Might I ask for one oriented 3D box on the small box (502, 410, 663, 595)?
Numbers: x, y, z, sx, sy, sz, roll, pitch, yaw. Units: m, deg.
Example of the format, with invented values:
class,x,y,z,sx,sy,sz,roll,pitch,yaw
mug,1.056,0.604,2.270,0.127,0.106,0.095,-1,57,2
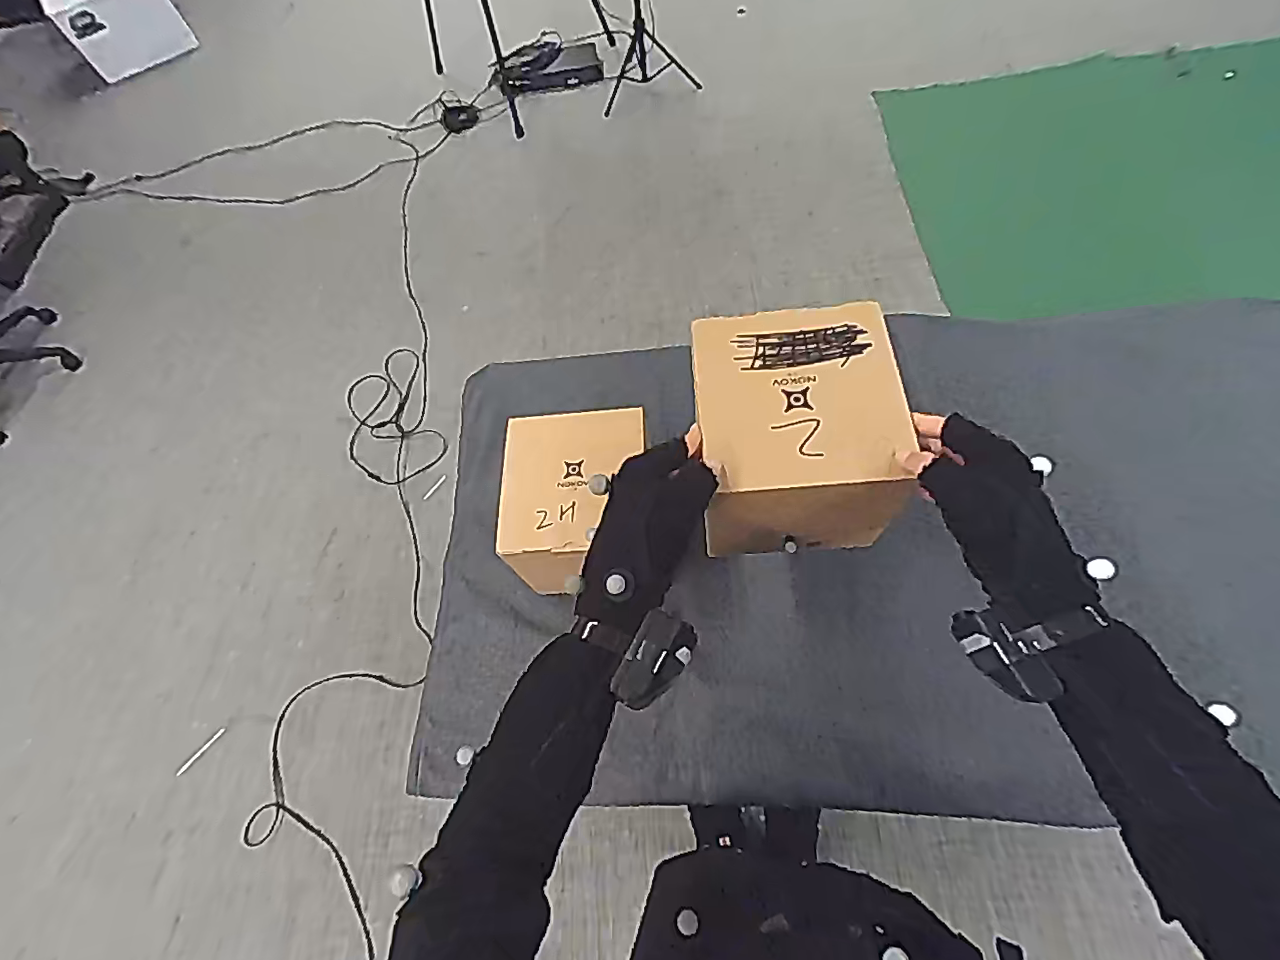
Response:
class,x,y,z,sx,sy,sz,roll,pitch,yaw
small box,-0.060,0.035,0.684,0.168,0.176,0.179,-4,63,6
